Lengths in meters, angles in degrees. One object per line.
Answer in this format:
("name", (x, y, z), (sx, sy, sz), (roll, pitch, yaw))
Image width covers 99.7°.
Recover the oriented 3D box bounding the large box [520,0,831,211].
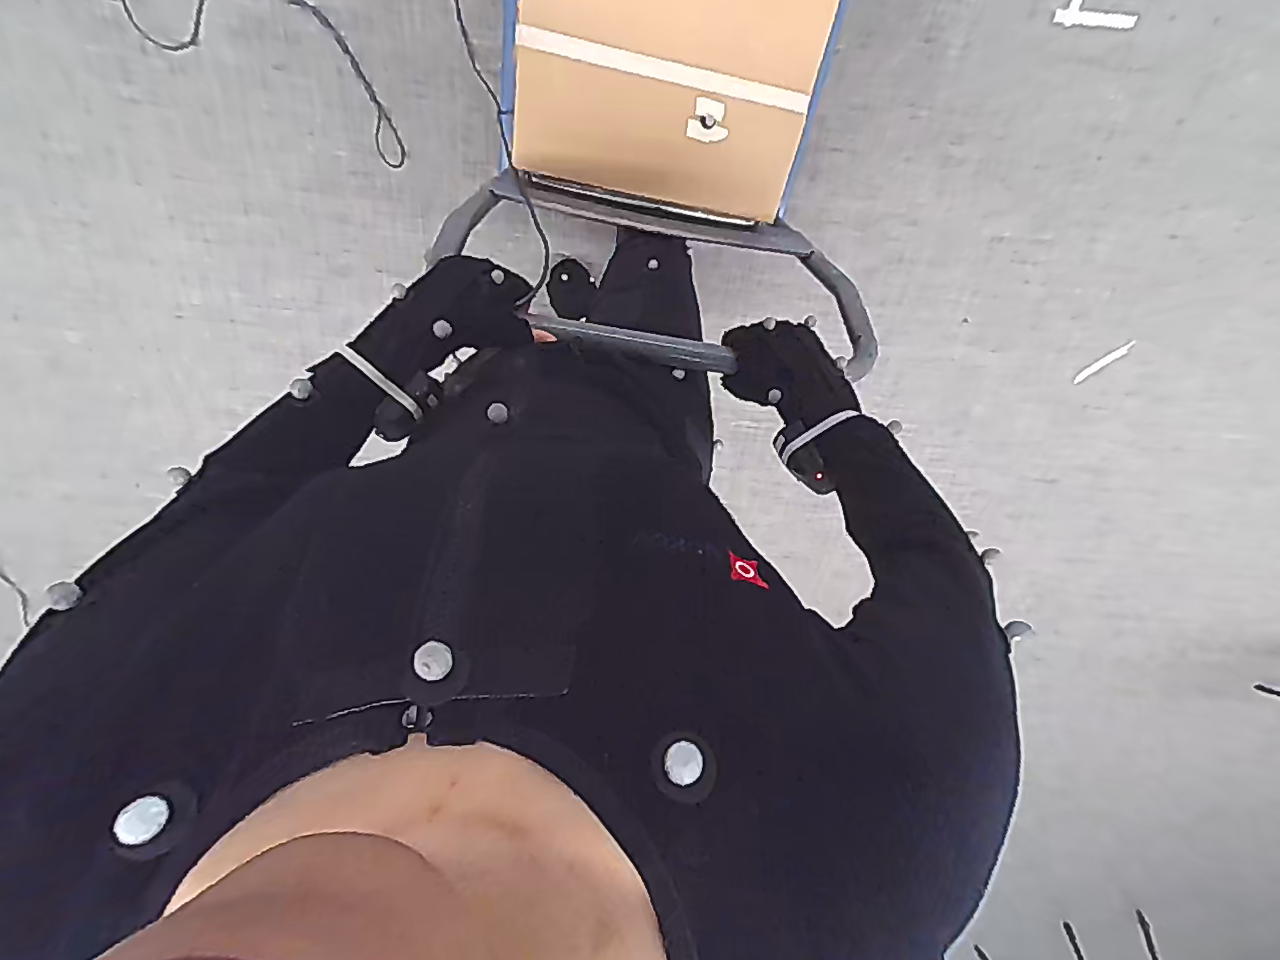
("large box", (0.032, -0.654, 0.871), (0.408, 0.320, 0.320), (7, 123, -9))
